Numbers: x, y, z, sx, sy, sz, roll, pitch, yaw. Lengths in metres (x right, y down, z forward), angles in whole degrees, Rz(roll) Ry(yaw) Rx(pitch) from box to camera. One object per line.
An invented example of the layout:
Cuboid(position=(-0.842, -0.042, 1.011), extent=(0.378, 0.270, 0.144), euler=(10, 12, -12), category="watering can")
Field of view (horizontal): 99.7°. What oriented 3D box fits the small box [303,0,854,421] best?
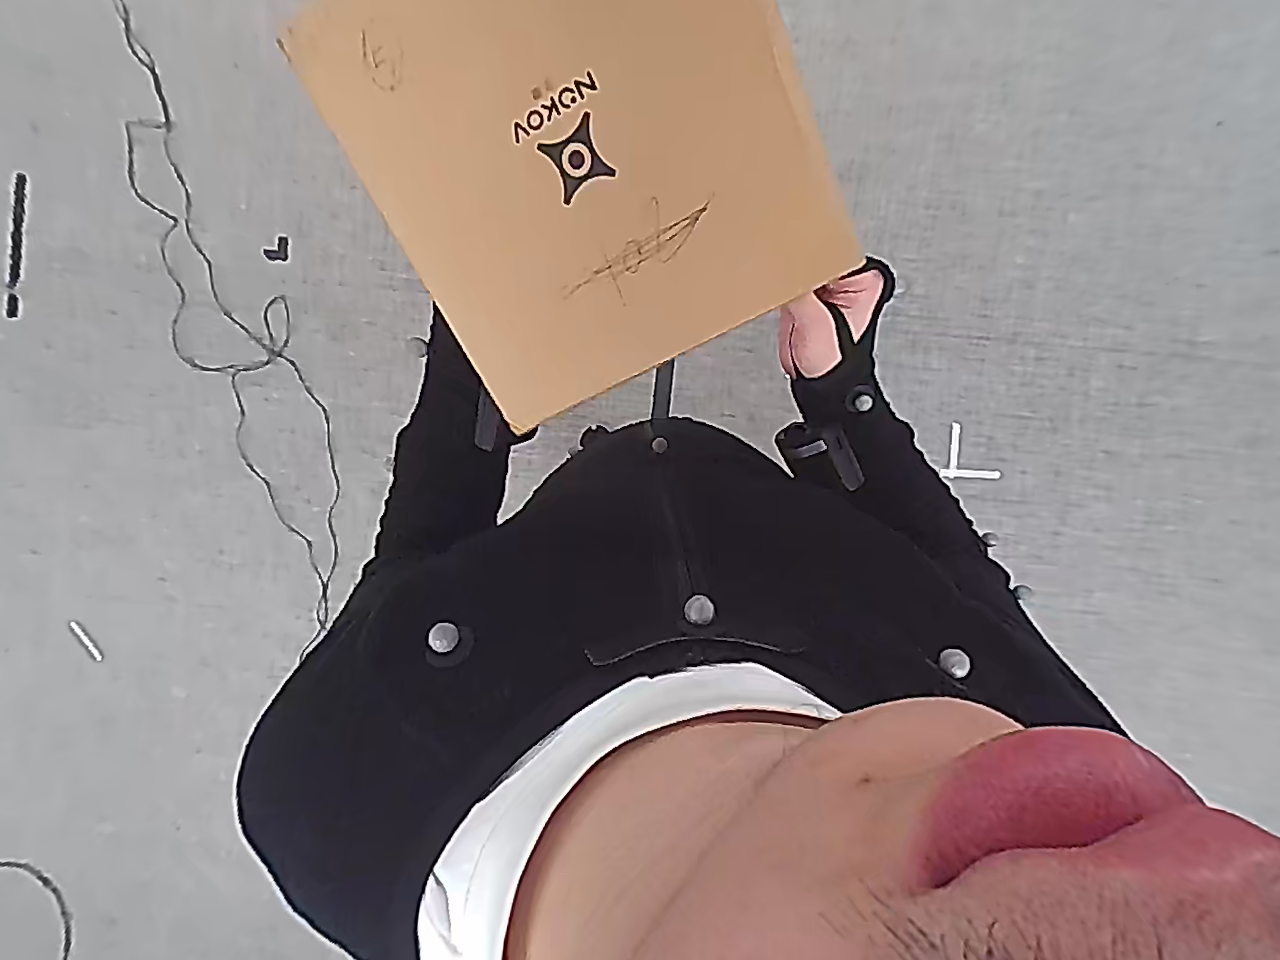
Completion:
Cuboid(position=(-0.014, -0.161, 0.286), extent=(0.168, 0.176, 0.179), euler=(-24, 109, 19), category="small box")
